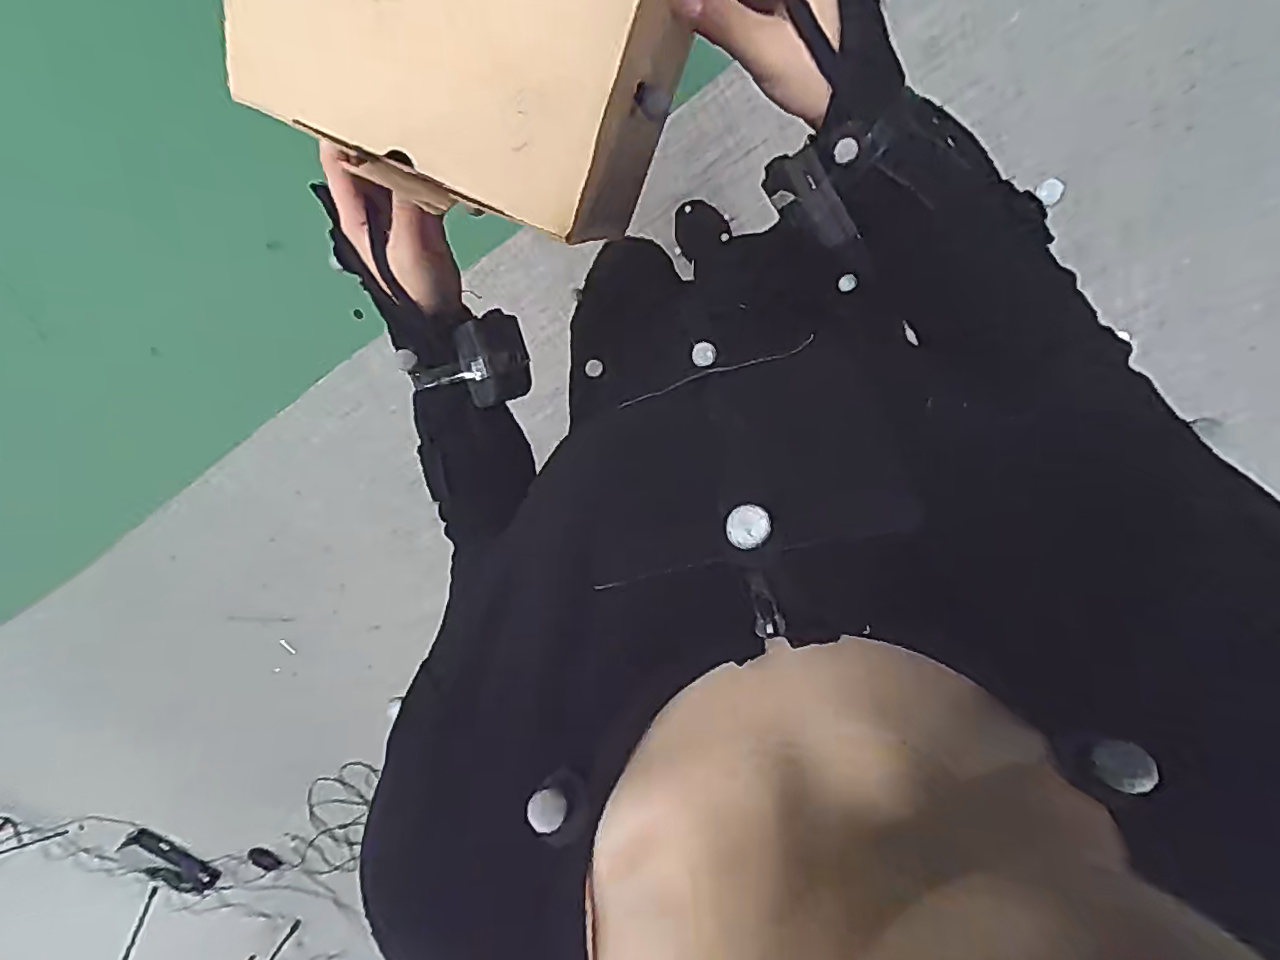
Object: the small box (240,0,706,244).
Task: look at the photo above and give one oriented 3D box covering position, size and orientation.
[{"bbox_3d":[-0.065,-0.246,0.284,0.168,0.176,0.179,23,117,-2],"label":"small box"}]
